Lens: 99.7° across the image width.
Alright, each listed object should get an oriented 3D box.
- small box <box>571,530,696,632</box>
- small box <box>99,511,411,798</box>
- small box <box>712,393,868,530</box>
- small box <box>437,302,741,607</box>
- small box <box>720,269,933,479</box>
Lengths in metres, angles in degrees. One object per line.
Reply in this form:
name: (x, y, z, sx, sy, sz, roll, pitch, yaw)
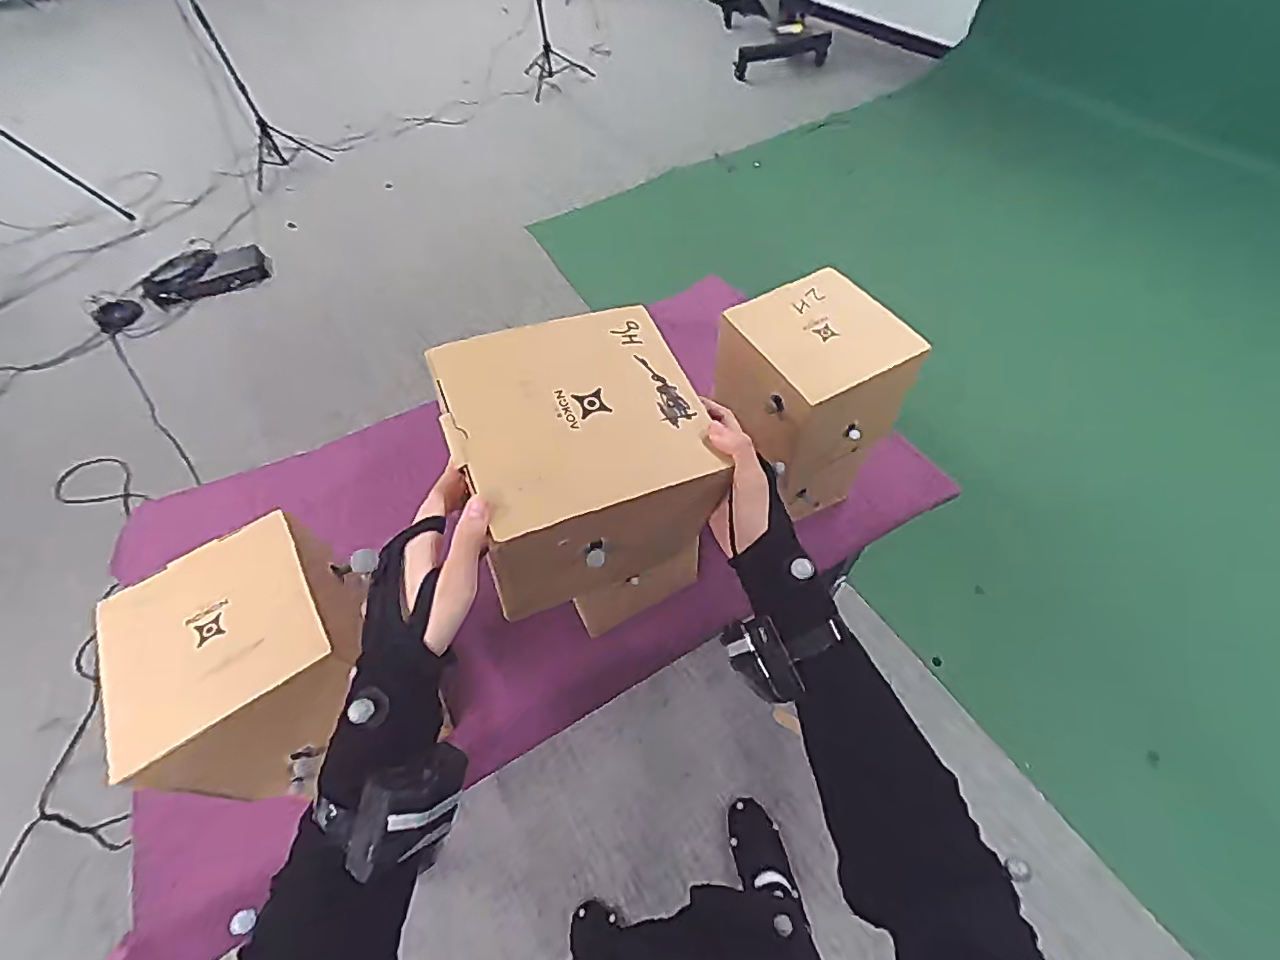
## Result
small box: (-0.034, 0.084, 0.752, 0.179, 0.176, 0.168, -25, 57, -14)
small box: (-0.351, 0.169, 0.515, 0.168, 0.176, 0.179, -31, 58, -16)
small box: (0.219, -0.044, 0.825, 0.168, 0.176, 0.179, -22, 57, -11)
small box: (-0.048, -0.015, 0.448, 0.179, 0.176, 0.168, -17, 64, -19)
small box: (0.215, -0.123, 0.679, 0.168, 0.176, 0.179, -25, 58, -13)
